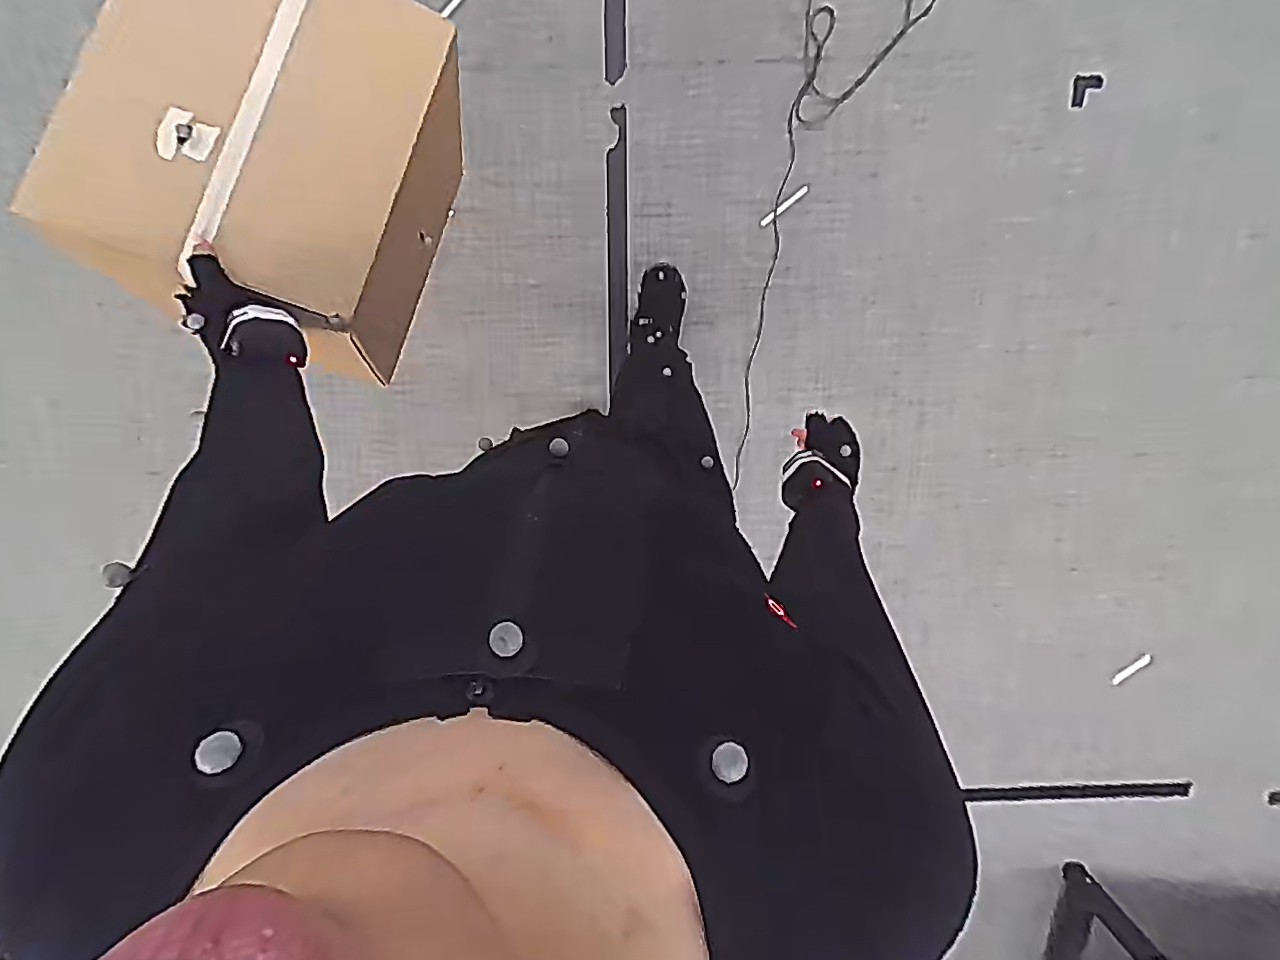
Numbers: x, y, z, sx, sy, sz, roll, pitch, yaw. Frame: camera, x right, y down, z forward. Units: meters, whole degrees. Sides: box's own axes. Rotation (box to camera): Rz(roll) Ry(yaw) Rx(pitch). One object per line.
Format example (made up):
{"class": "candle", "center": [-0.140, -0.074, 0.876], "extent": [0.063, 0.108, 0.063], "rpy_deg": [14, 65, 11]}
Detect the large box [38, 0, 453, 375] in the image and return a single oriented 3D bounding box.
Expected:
{"class": "large box", "center": [-0.468, -0.409, 0.751], "extent": [0.320, 0.320, 0.408], "rpy_deg": [17, 83, -15]}
